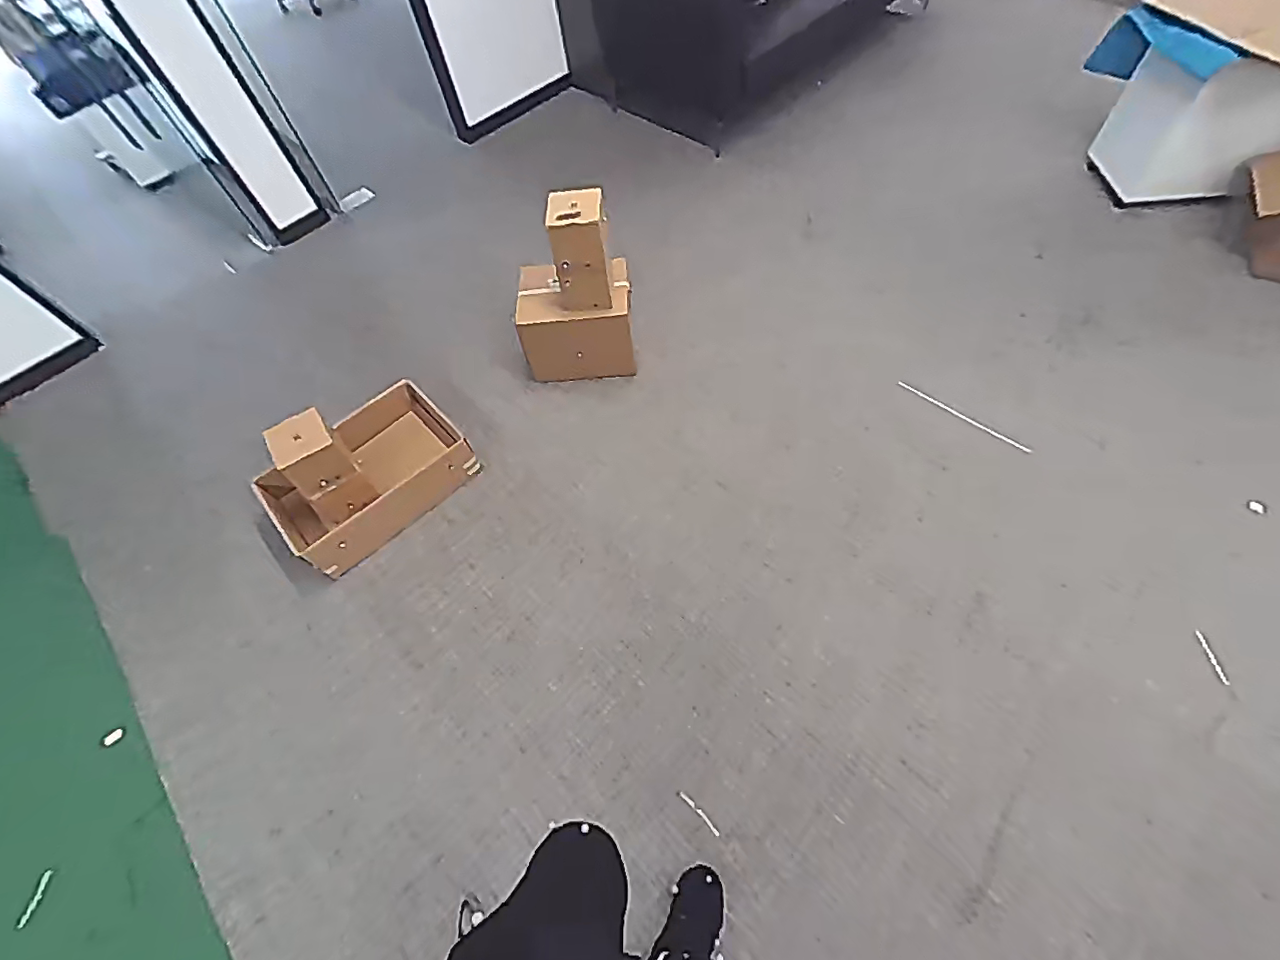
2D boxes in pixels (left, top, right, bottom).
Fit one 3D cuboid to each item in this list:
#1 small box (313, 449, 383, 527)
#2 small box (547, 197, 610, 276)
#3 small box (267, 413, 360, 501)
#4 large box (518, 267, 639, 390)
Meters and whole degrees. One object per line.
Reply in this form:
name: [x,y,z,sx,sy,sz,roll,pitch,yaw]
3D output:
small box: [-1.003,0.026,1.820,0.168,0.176,0.179,-35,62,-19]
small box: [-0.189,-0.768,1.723,0.168,0.176,0.179,-3,57,4]
small box: [-1.015,-0.068,1.687,0.168,0.176,0.179,-32,61,-16]
large box: [-0.223,-0.578,2.094,0.408,0.320,0.320,-5,57,4]
